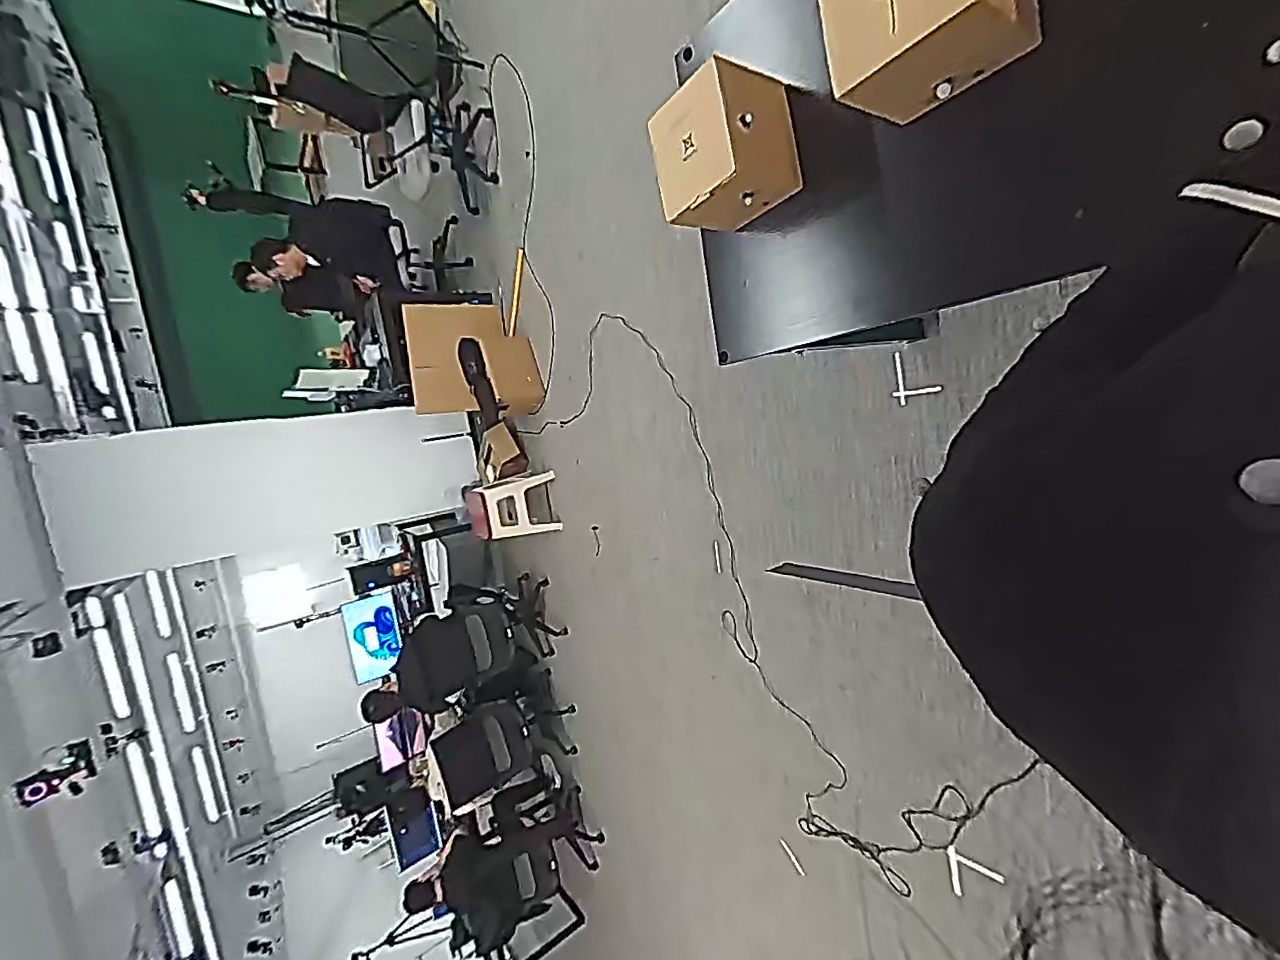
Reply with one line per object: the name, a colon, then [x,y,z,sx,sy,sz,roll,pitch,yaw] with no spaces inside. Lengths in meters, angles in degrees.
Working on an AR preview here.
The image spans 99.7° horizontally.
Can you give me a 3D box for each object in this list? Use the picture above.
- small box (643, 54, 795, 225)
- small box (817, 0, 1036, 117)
small box: [0.133,-0.541,0.893,0.168,0.176,0.179,-8,94,53]
small box: [0.324,-0.561,0.621,0.168,0.176,0.179,-3,99,54]
